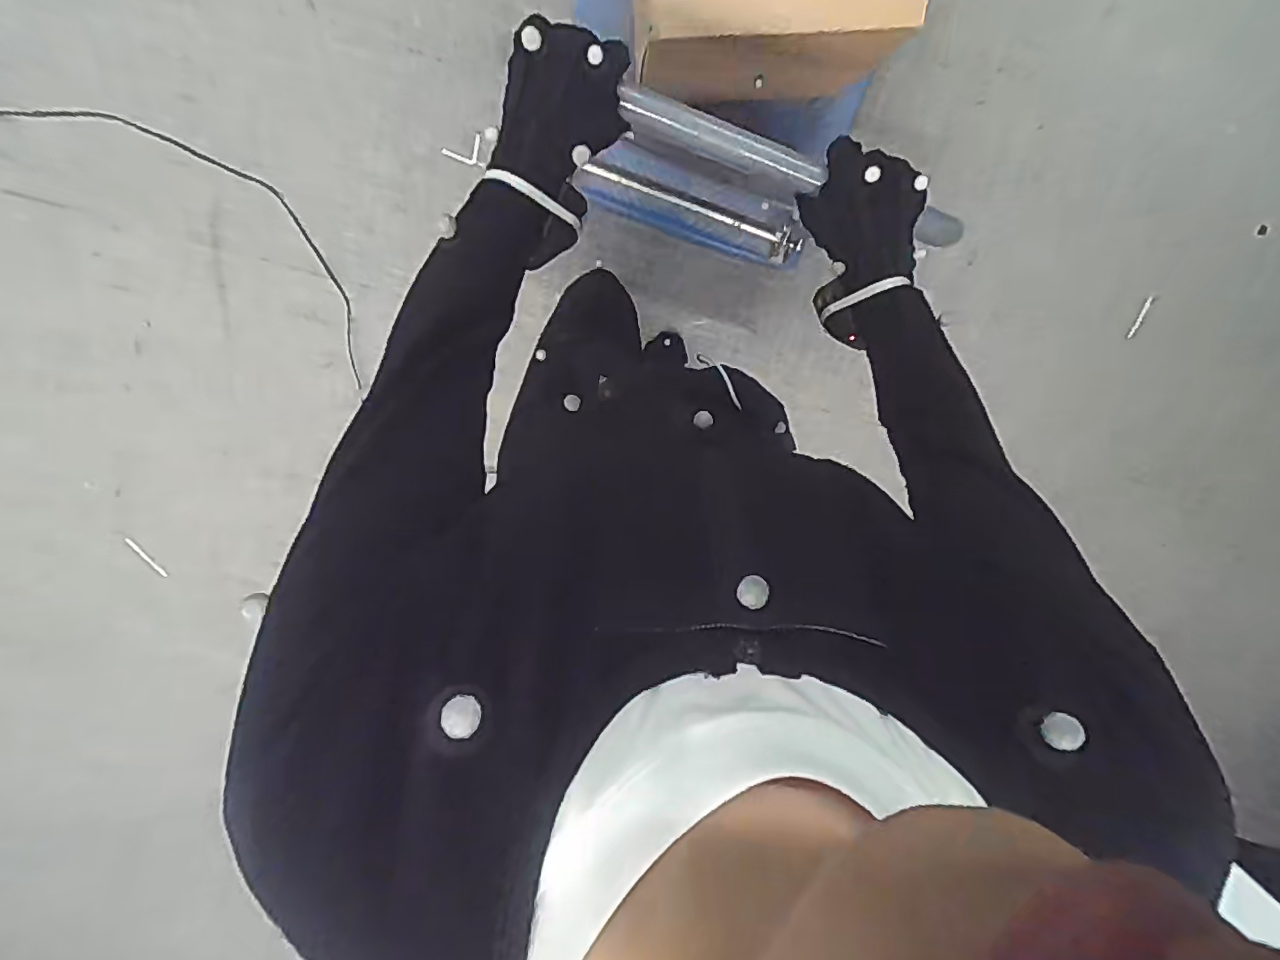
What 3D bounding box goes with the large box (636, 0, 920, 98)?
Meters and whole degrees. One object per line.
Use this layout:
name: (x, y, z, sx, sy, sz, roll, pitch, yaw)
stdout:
large box: (0.196, -0.857, 0.876, 0.408, 0.320, 0.320, -4, 109, 0)
